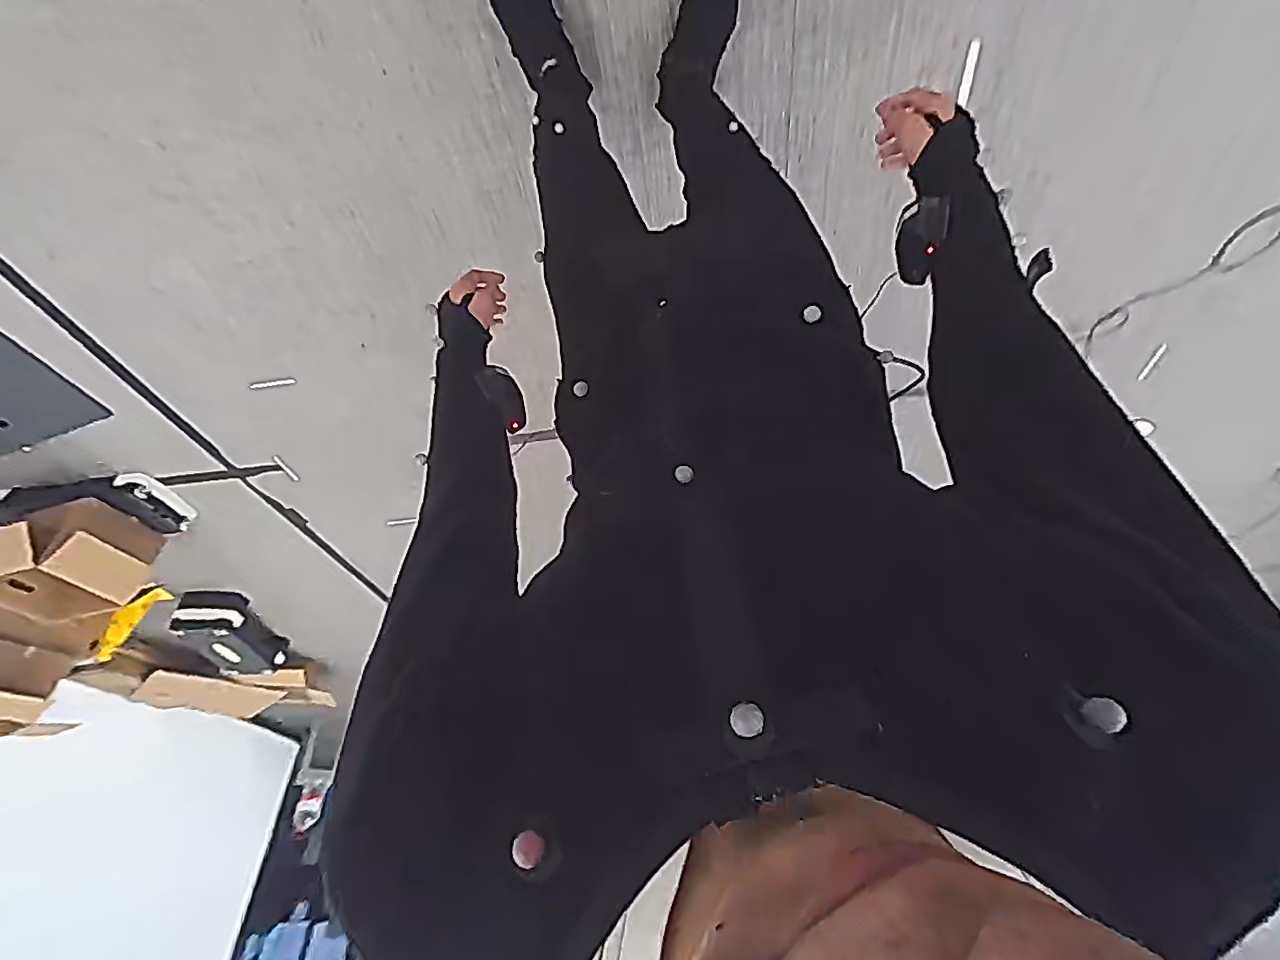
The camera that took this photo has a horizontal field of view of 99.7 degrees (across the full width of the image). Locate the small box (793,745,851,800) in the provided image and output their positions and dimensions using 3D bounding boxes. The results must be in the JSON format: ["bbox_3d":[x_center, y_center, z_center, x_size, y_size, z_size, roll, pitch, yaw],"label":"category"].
[{"bbox_3d":[0.722,1.168,2.162,0.179,0.176,0.168,-8,142,7],"label":"small box"}]
